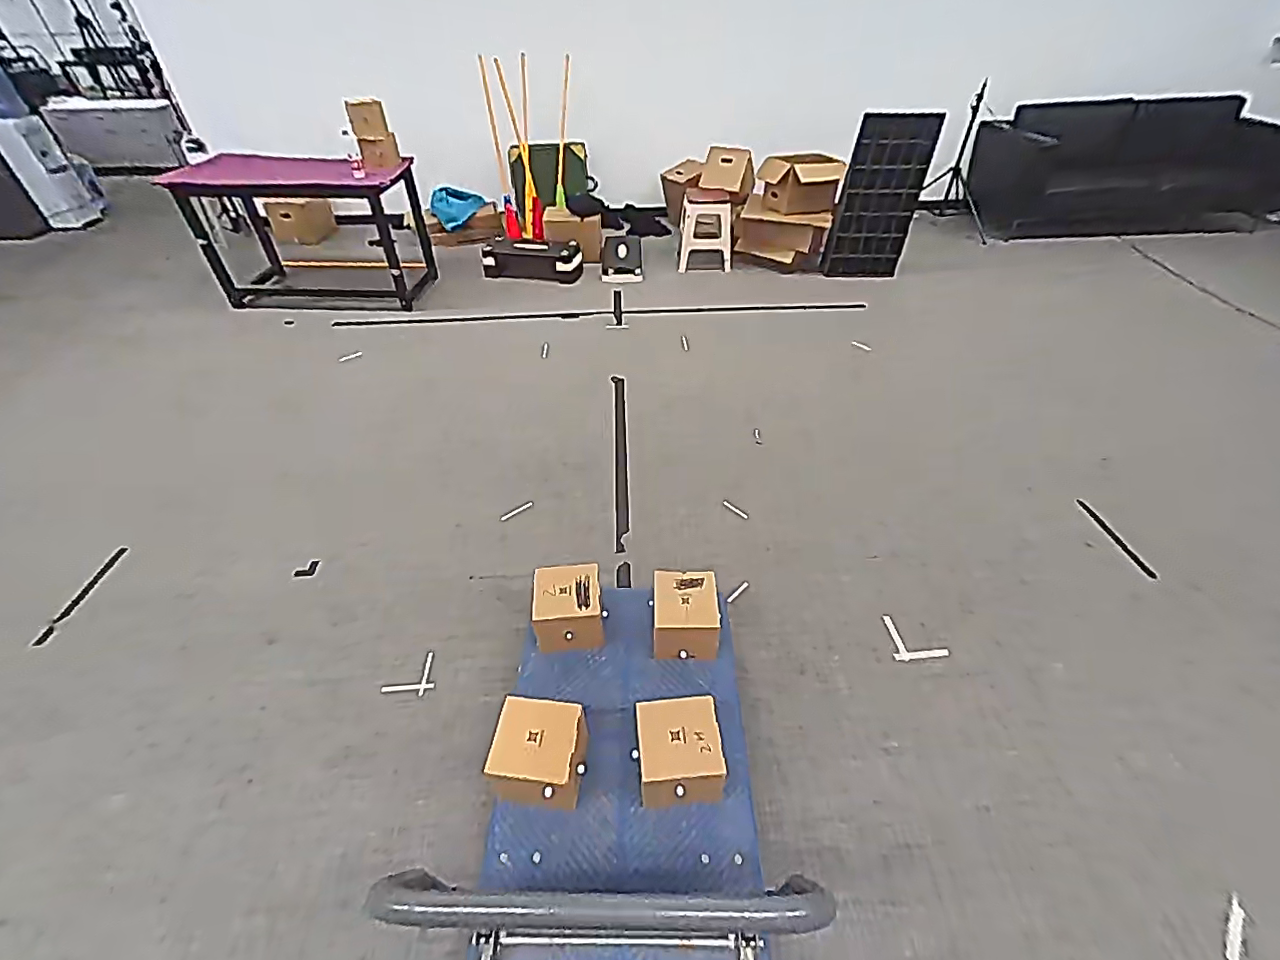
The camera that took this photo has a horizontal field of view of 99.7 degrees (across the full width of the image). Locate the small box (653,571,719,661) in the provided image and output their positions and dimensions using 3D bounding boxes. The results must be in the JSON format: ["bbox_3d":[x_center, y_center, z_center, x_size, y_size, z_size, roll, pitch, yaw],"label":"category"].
[{"bbox_3d":[0.120,0.369,1.467,0.168,0.176,0.179,0,44,1],"label":"small box"}]

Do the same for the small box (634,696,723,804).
[{"bbox_3d":[0.082,0.606,1.209,0.179,0.176,0.168,-3,43,-3],"label":"small box"}]

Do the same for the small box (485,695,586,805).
[{"bbox_3d":[-0.225,0.607,1.212,0.179,0.176,0.168,5,42,4],"label":"small box"}]
